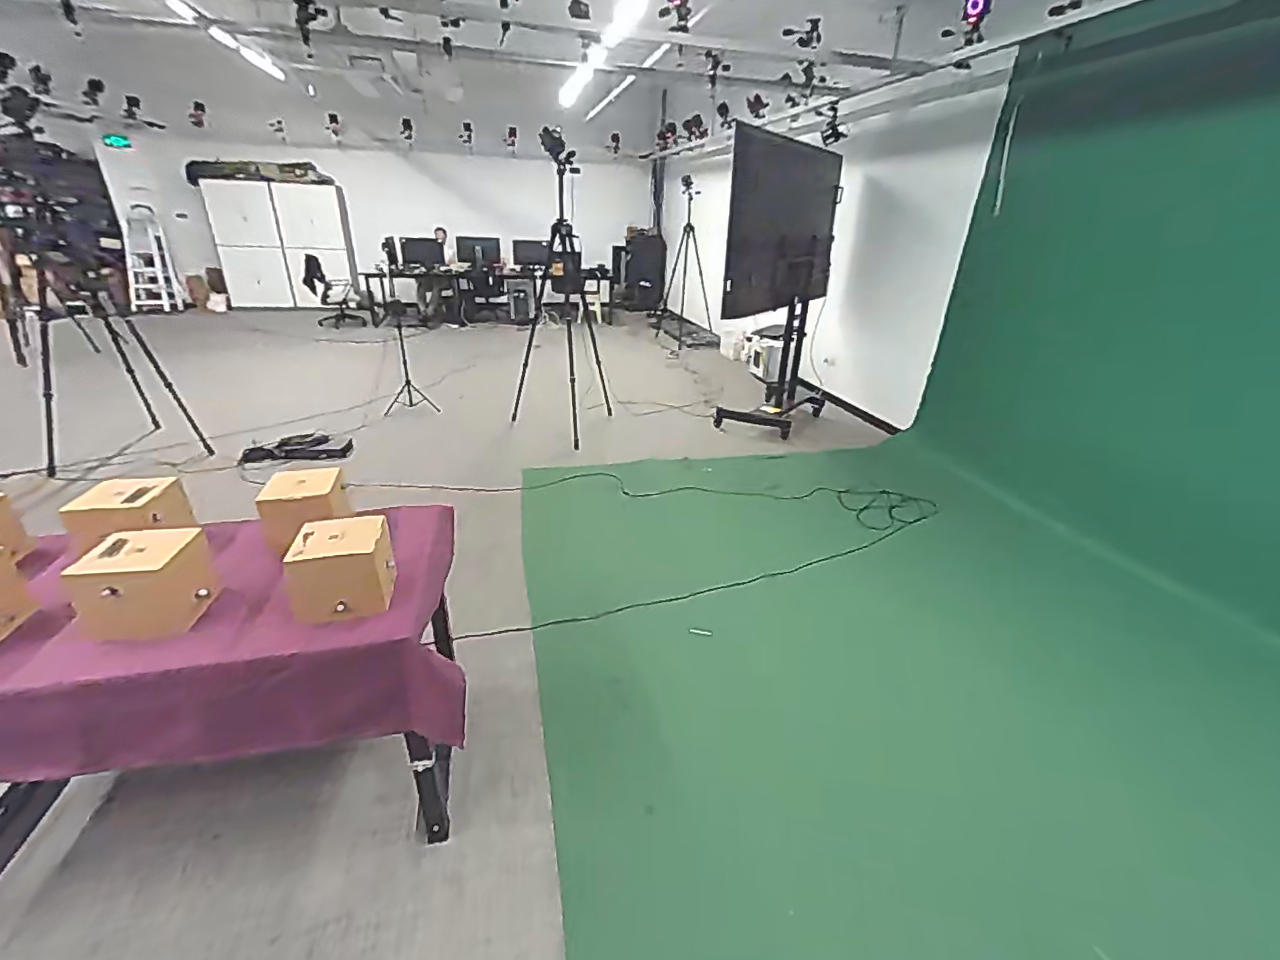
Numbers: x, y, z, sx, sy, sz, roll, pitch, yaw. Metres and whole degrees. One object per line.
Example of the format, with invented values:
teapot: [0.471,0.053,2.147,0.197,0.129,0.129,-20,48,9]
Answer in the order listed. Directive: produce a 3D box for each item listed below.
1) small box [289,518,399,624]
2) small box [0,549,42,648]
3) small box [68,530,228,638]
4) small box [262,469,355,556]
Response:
small box: [-0.662,0.205,1.235,0.179,0.176,0.168,-5,26,-13]
small box: [-1.387,0.257,1.081,0.179,0.176,0.168,-3,26,-12]
small box: [-1.047,0.225,1.170,0.179,0.176,0.168,-2,26,-10]
small box: [-0.888,0.086,1.468,0.168,0.176,0.179,-6,27,-15]
